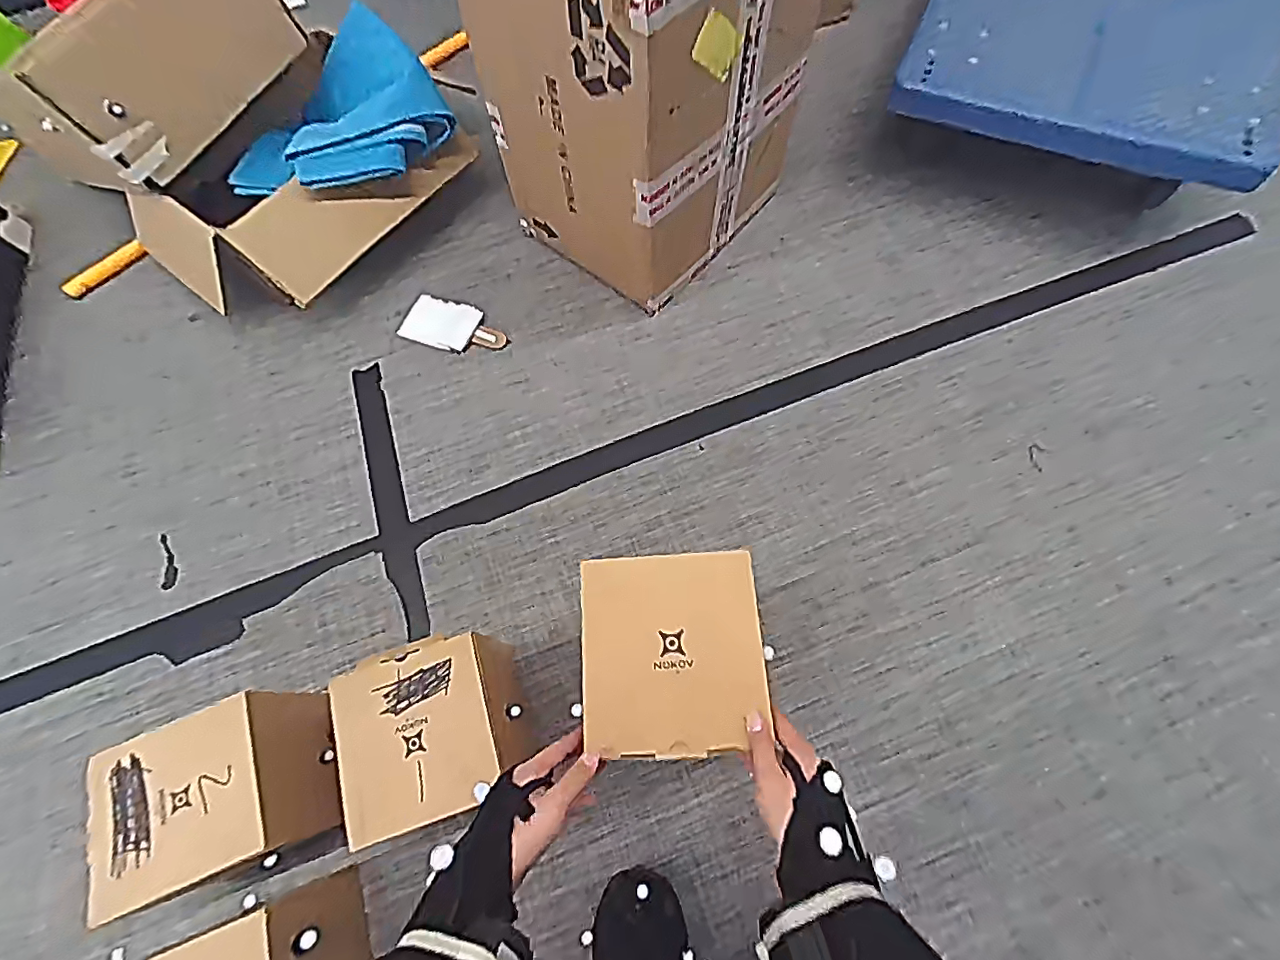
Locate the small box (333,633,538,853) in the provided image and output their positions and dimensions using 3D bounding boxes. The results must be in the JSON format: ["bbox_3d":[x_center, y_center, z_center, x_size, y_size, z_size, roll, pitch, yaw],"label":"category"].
[{"bbox_3d":[-0.234,0.303,0.647,0.168,0.176,0.179,-18,69,-5],"label":"small box"}]

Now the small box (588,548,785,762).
[{"bbox_3d":[0.035,0.177,0.548,0.168,0.176,0.179,-3,69,0],"label":"small box"}]

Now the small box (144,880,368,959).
[{"bbox_3d":[-0.399,0.546,0.552,0.168,0.176,0.179,-21,68,-5],"label":"small box"}]
